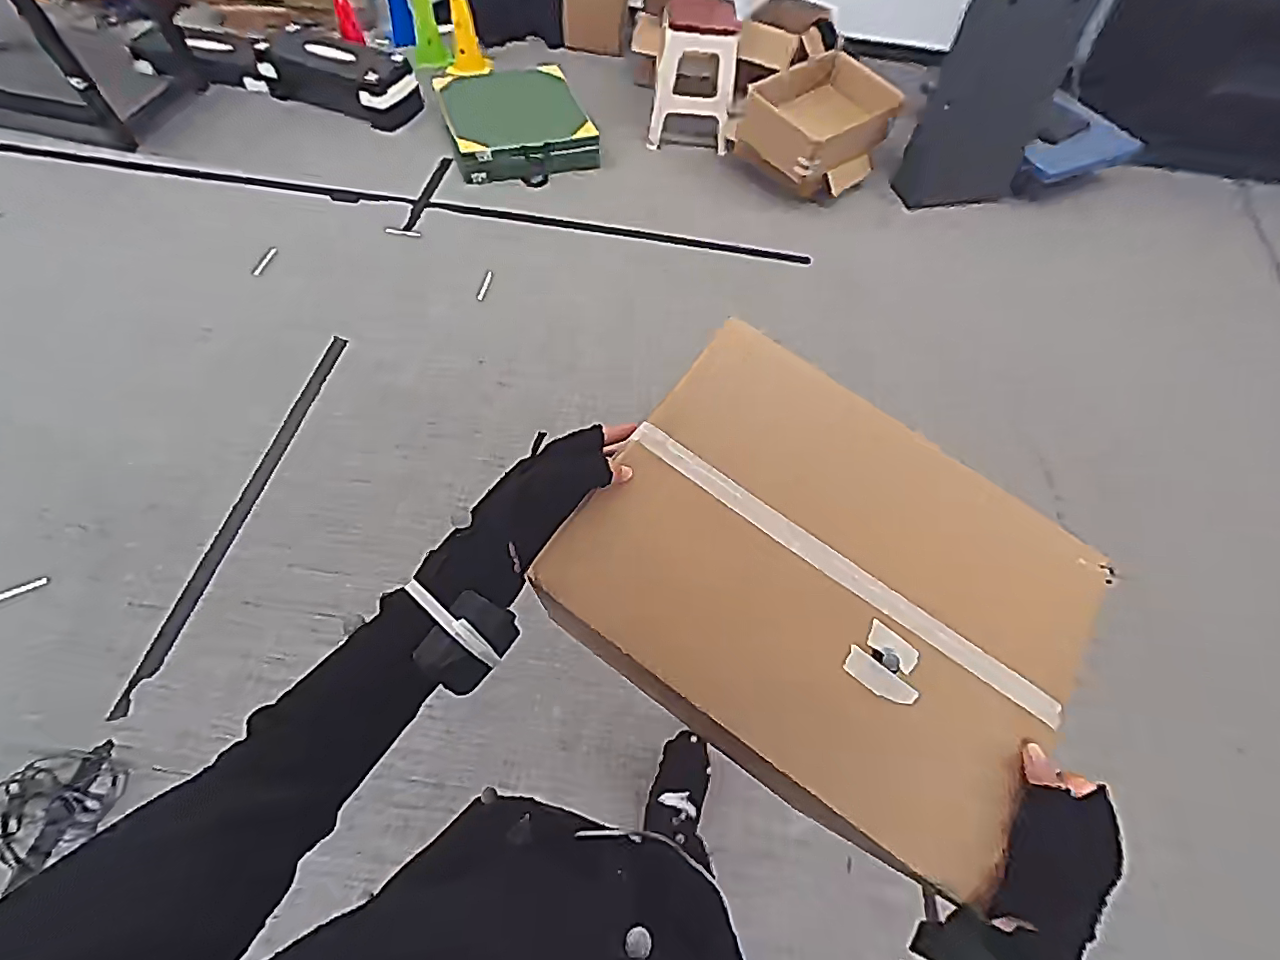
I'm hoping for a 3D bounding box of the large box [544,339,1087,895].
[{"bbox_3d":[0.147,0.131,0.603,0.408,0.320,0.320,35,71,6],"label":"large box"}]
